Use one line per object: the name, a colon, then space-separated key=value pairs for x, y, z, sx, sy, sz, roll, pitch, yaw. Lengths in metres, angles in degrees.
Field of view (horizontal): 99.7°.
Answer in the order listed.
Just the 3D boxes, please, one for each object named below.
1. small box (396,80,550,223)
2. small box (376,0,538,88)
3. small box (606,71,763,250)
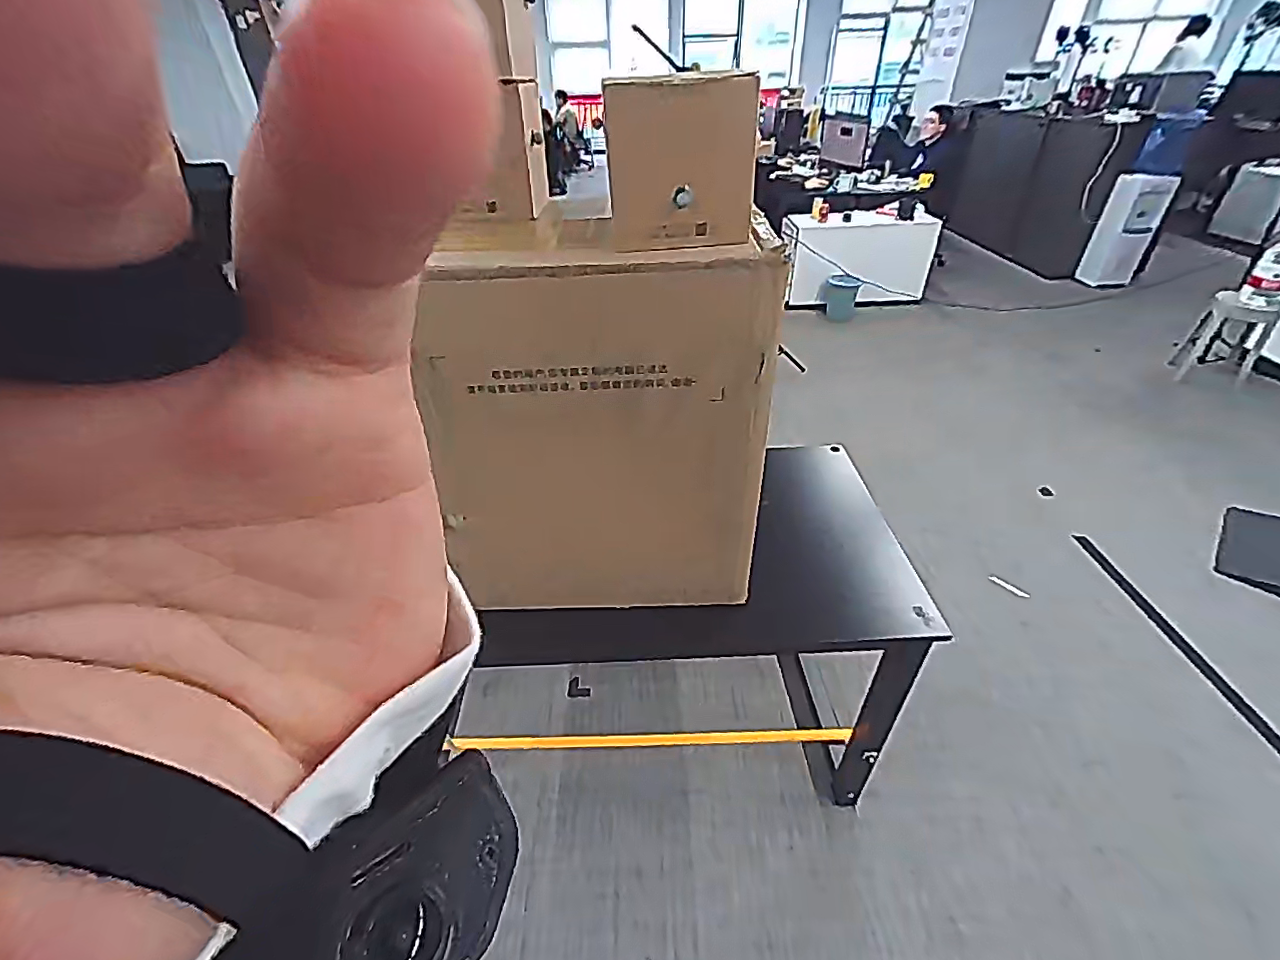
small box: x=-0.232 y=-0.489 z=0.807 sx=0.168 sy=0.176 sz=0.179 roll=-1 pitch=37 yaw=0
small box: x=-0.232 y=-0.611 z=0.696 sx=0.168 sy=0.176 sz=0.179 roll=-1 pitch=37 yaw=2
small box: x=0.045 y=-0.395 z=0.669 sx=0.168 sy=0.176 sz=0.179 roll=-5 pitch=39 yaw=-1
